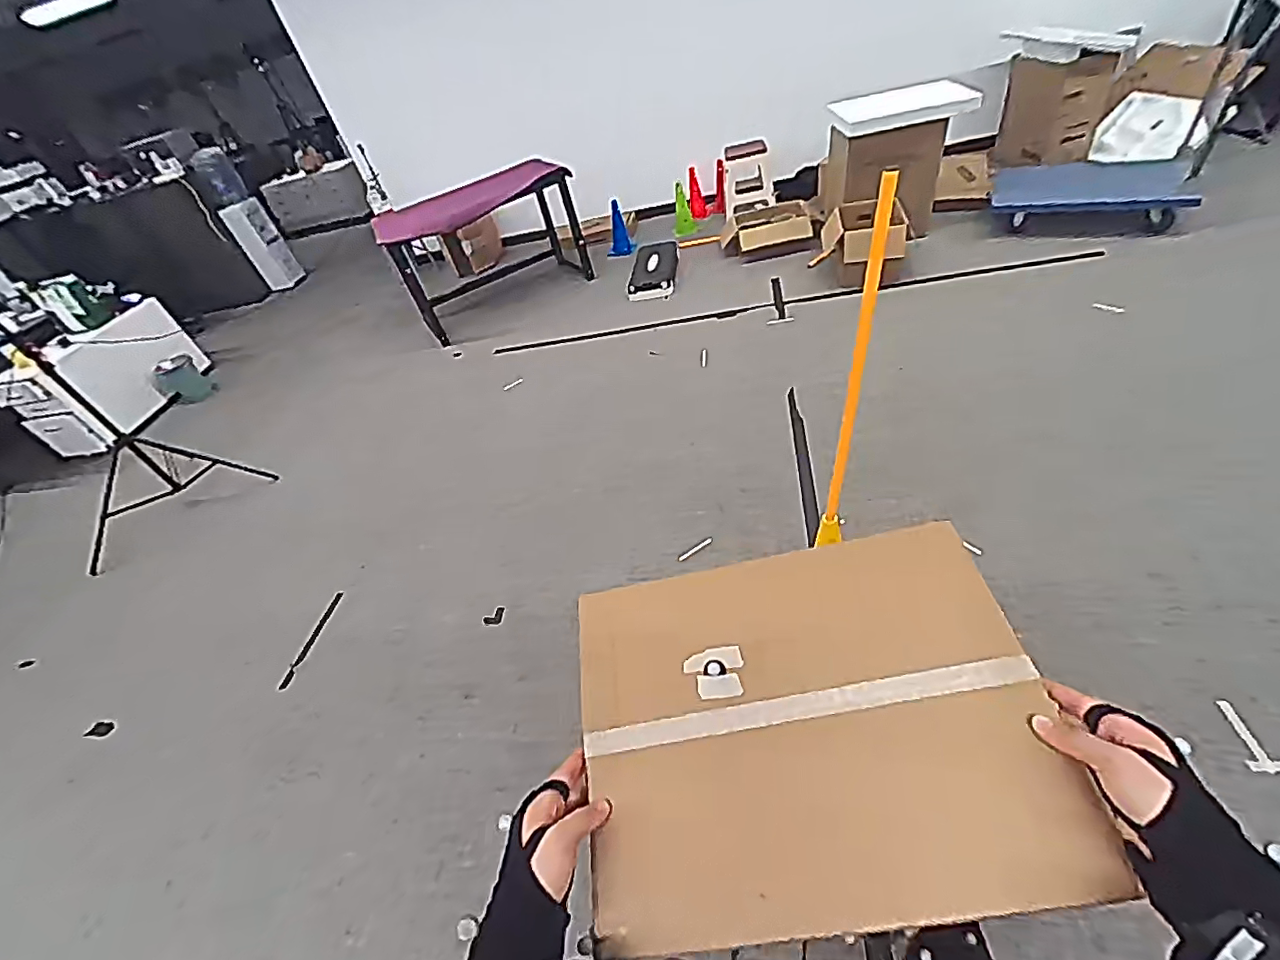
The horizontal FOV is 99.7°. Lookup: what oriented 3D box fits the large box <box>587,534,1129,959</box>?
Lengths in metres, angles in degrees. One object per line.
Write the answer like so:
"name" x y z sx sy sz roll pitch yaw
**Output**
"large box" 0.184 0.308 0.618 0.408 0.320 0.320 -14 50 7
